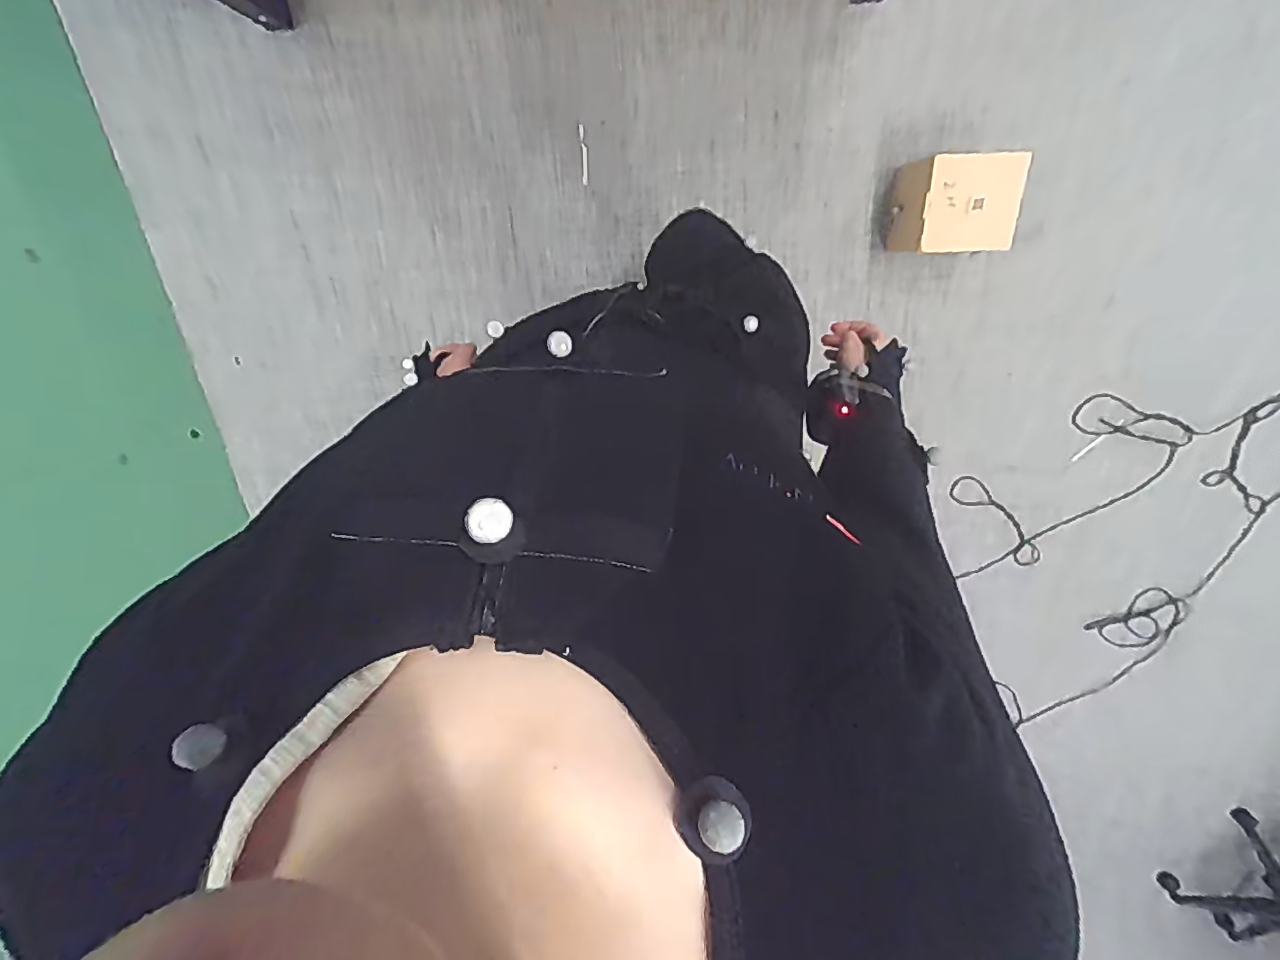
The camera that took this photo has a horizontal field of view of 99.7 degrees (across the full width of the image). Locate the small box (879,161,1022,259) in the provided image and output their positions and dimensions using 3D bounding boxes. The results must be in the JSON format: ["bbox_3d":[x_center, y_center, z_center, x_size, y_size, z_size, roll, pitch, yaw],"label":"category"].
[{"bbox_3d":[0.609,-0.535,1.085,0.179,0.176,0.168,-1,111,1],"label":"small box"}]
